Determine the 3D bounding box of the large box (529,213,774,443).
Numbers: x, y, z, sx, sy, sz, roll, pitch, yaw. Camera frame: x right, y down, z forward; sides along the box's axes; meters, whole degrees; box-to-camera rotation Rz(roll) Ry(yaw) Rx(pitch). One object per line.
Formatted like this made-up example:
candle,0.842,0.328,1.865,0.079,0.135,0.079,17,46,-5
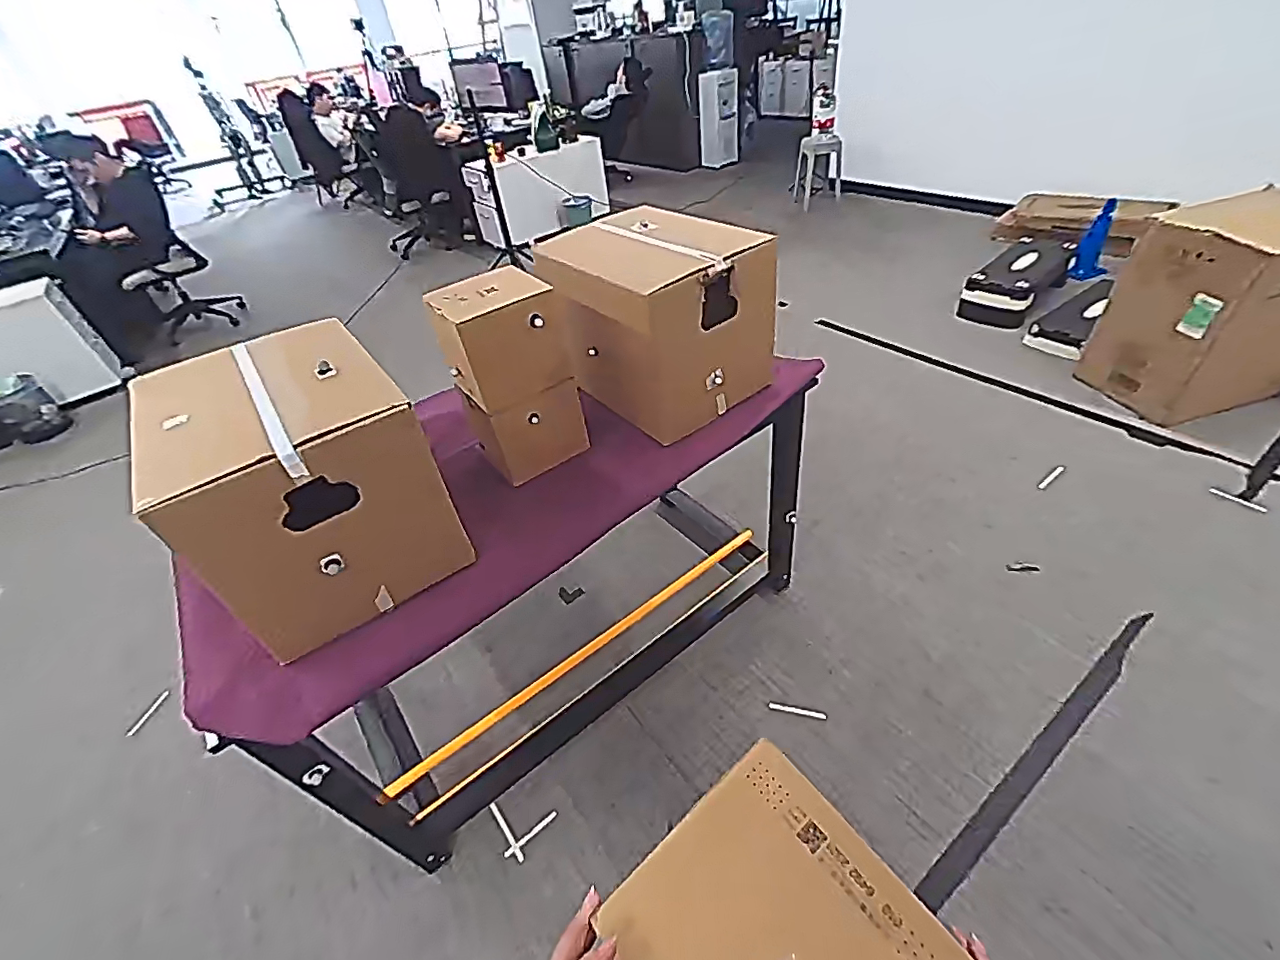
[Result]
large box,0.030,-0.336,1.142,0.320,0.320,0.408,-31,44,-24
